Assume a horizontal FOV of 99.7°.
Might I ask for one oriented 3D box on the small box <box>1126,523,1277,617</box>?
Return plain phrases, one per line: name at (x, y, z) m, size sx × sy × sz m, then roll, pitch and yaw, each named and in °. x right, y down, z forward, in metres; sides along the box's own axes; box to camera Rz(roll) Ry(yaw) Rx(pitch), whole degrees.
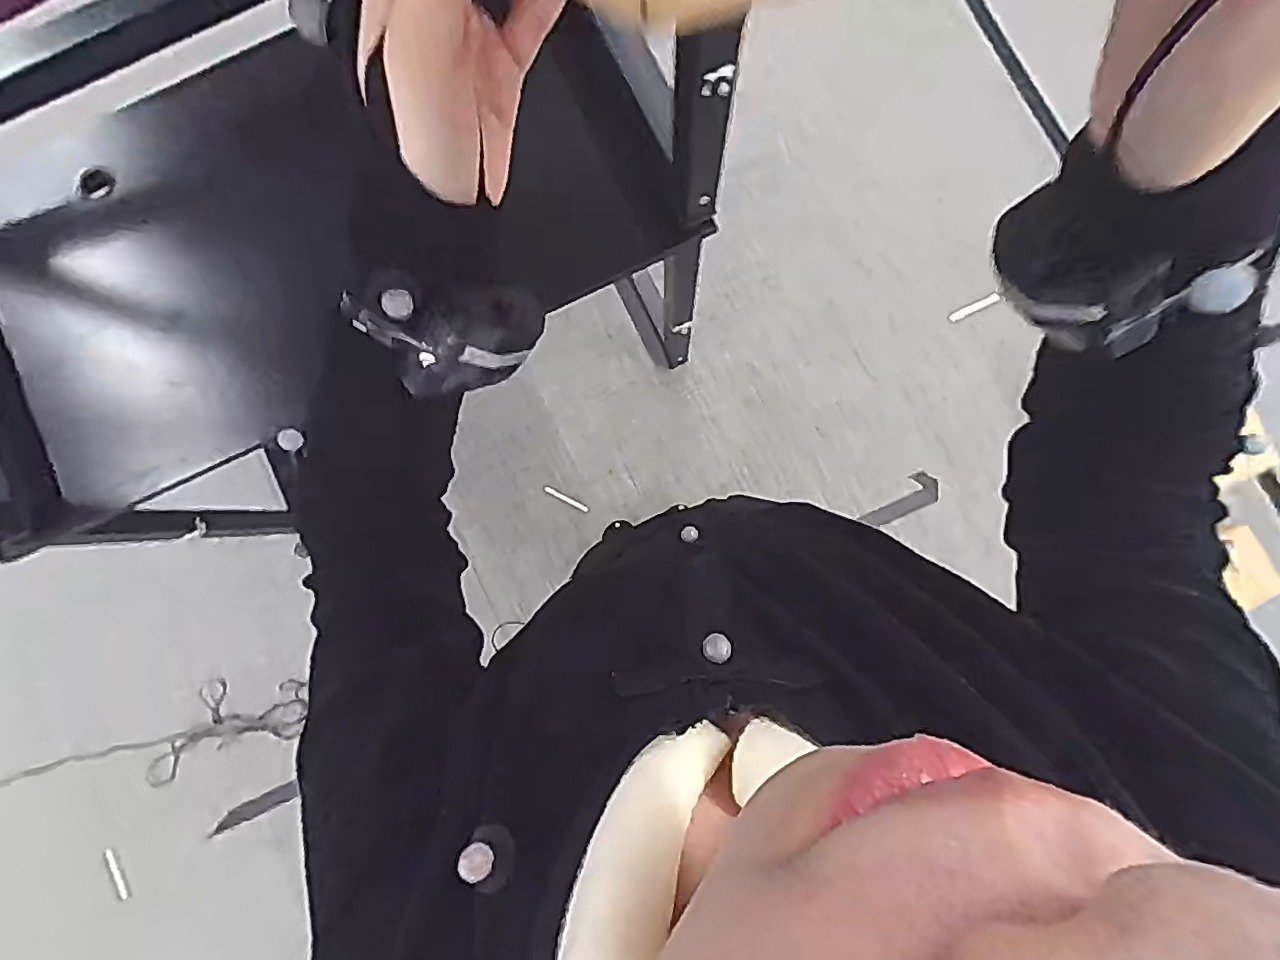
small box at (1.409, 0.218, 1.369) m, size 0.168 × 0.176 × 0.179 m, roll -26°, pitch 87°, yaw 0°
